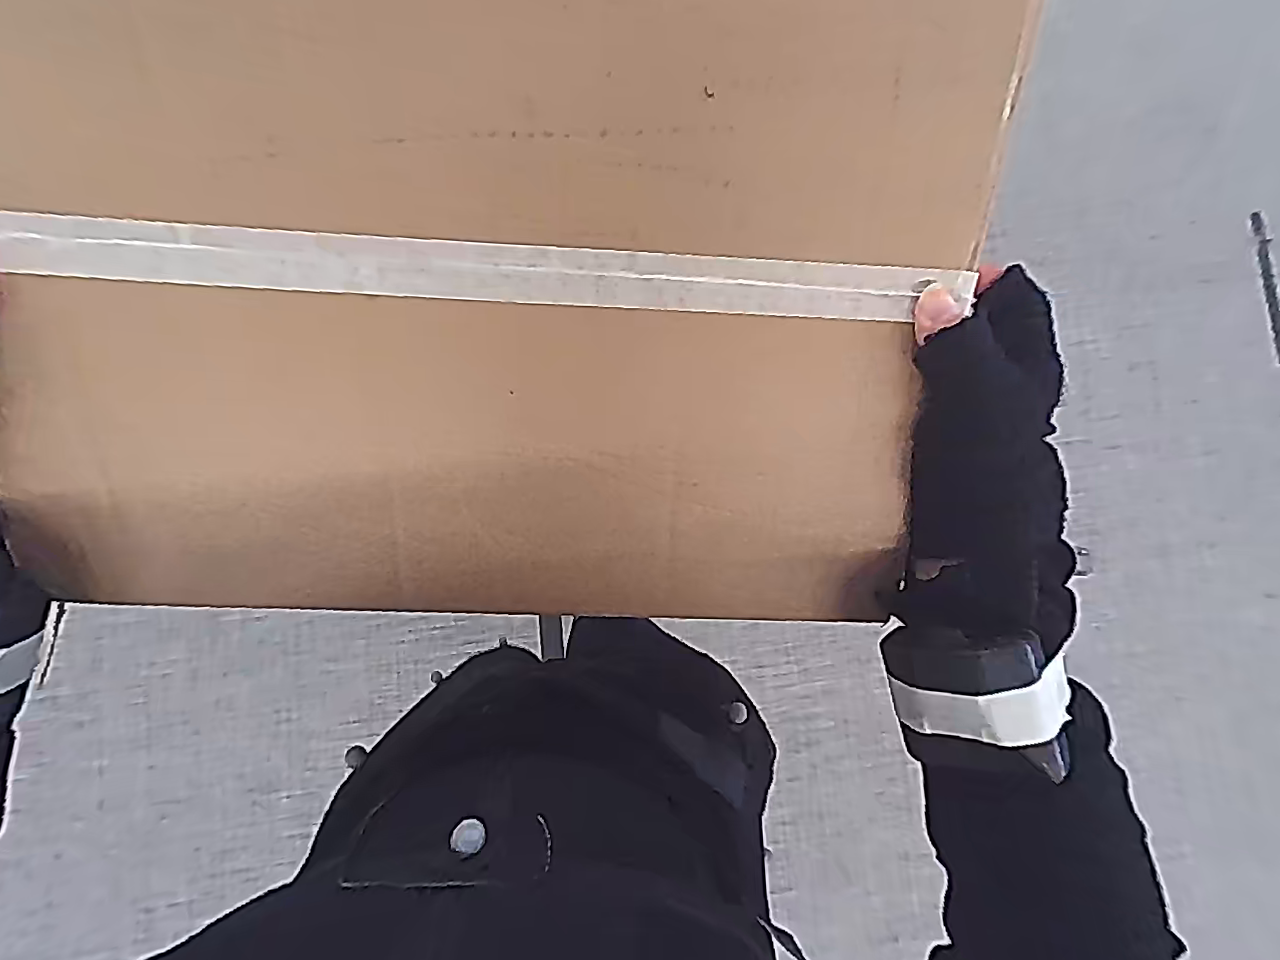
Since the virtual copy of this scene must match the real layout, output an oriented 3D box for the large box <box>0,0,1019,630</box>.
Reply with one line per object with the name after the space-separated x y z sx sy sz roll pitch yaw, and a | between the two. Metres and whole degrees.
-0.074 -0.121 0.360 0.408 0.320 0.320 2 110 -4 | large box
